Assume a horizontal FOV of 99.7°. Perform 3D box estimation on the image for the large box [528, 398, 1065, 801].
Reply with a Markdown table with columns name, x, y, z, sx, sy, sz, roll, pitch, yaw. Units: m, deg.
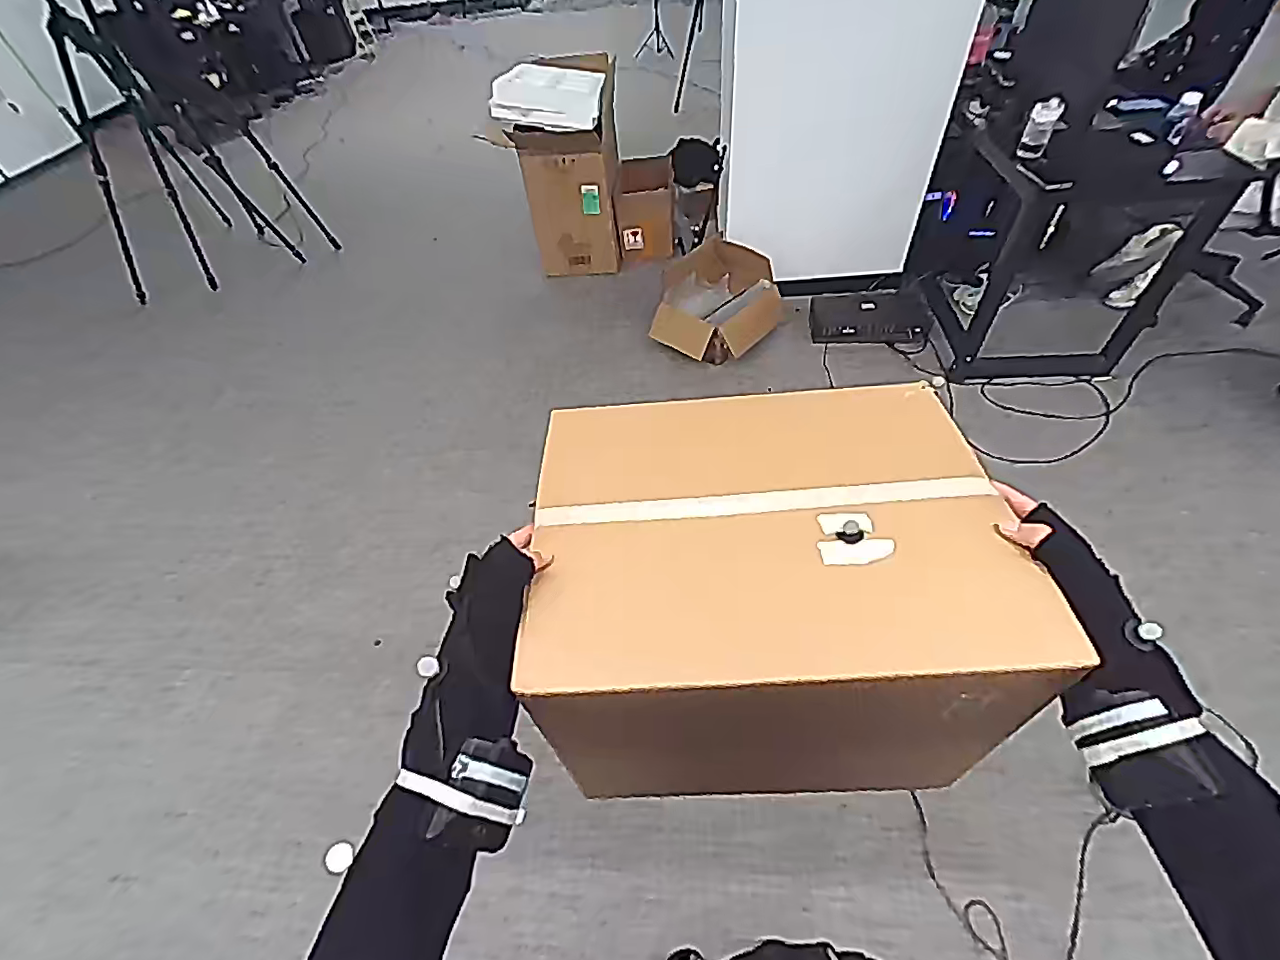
| name | x | y | z | sx | sy | sz | roll | pitch | yaw |
| --- | --- | --- | --- | --- | --- | --- | --- | --- | --- |
| large box | 0.119 | 0.138 | 0.604 | 0.408 | 0.320 | 0.320 | -4 | 47 | 3 |
